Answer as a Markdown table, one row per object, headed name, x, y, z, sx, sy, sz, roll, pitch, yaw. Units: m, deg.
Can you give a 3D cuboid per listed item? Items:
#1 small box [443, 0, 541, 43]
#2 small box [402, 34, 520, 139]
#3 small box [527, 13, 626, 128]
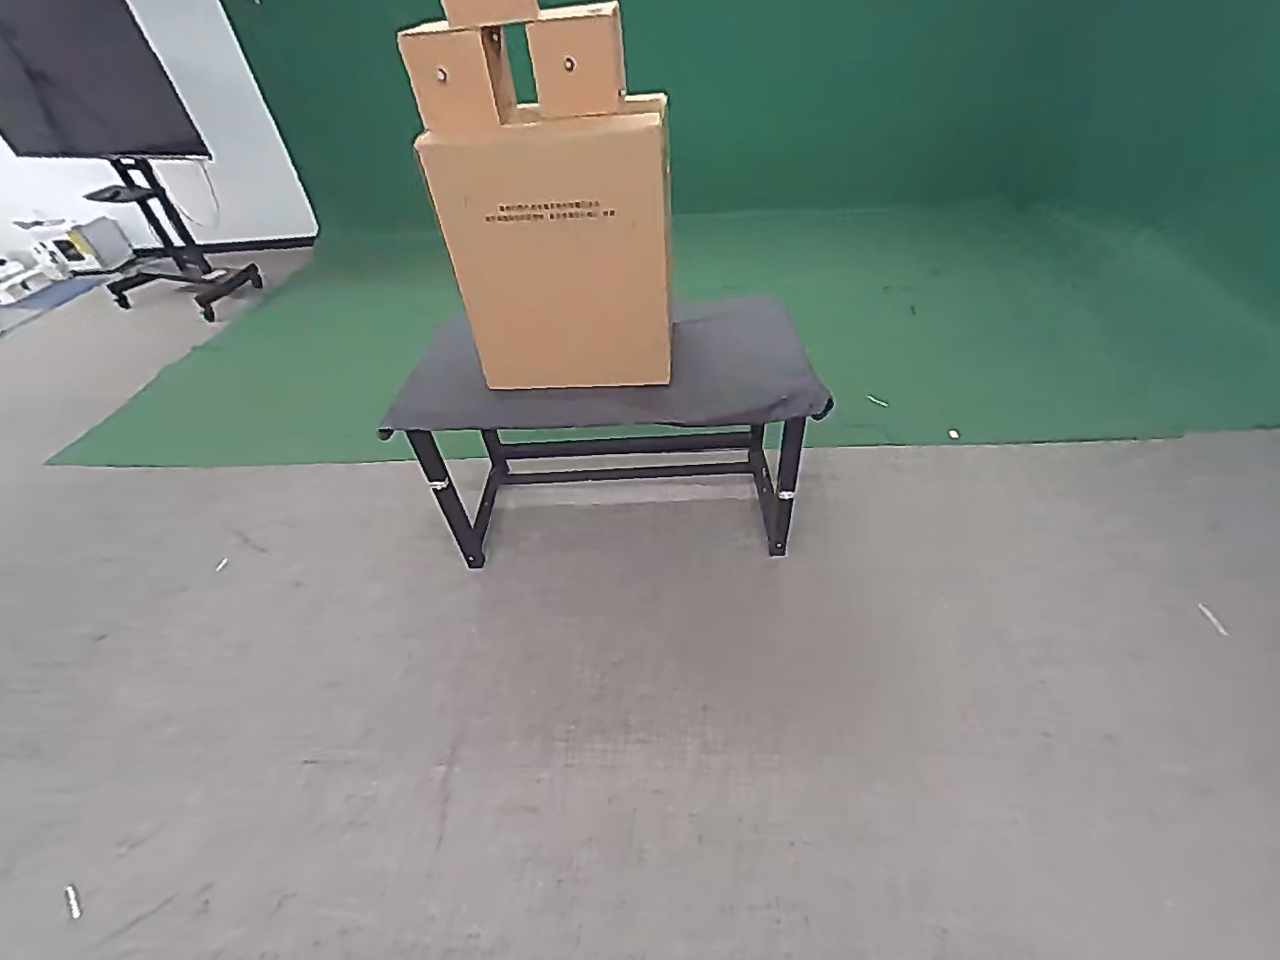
| name | x | y | z | sx | sy | sz | roll | pitch | yaw |
| --- | --- | --- | --- | --- | --- | --- | --- | --- | --- |
| small box | -0.300 | -0.994 | 1.077 | 0.179 | 0.176 | 0.168 | -8 | 44 | 0 |
| small box | -0.385 | -0.874 | 1.199 | 0.179 | 0.176 | 0.168 | 0 | 46 | 6 |
| small box | -0.128 | -0.895 | 1.187 | 0.179 | 0.176 | 0.168 | 0 | 47 | 7 |
